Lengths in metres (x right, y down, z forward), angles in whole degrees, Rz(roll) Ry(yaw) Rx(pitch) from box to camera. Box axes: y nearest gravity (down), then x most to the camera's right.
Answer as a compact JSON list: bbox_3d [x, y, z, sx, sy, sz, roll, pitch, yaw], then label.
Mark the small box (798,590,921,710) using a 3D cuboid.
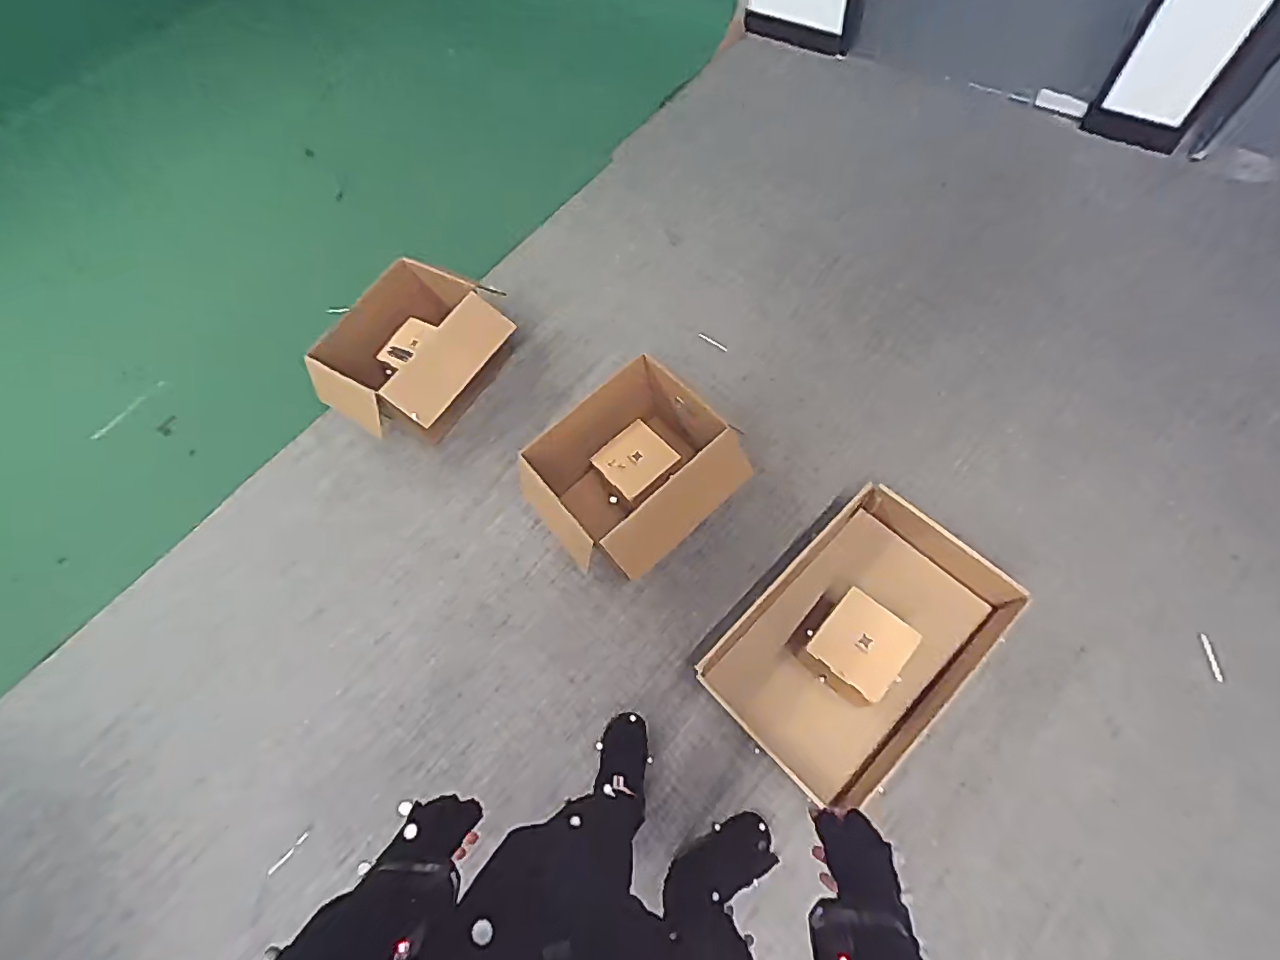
[{"bbox_3d":[0.462,0.372,1.170,0.168,0.176,0.179,37,76,22],"label":"small box"}]
